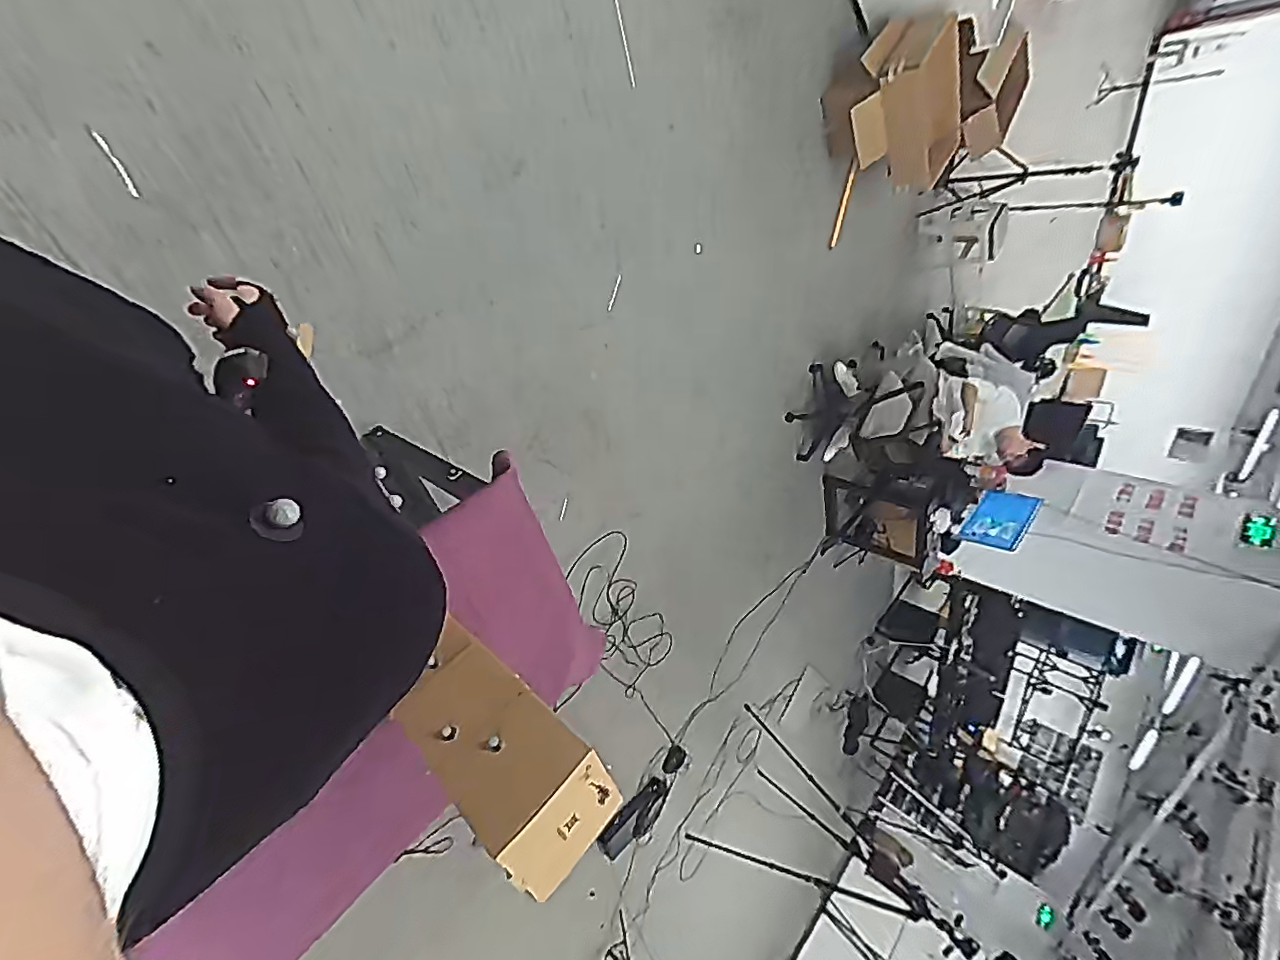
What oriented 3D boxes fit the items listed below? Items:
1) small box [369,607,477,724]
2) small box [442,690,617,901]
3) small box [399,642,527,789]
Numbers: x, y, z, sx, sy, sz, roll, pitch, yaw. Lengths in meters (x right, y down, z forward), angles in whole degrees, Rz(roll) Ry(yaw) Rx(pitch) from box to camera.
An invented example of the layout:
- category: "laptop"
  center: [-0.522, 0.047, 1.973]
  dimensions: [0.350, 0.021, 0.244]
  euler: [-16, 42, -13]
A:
- category: "small box"
  center: [-0.390, 0.382, 1.039]
  dimensions: [0.179, 0.176, 0.168]
  euler: [-40, 131, -28]
- category: "small box"
  center: [-0.169, 0.459, 0.807]
  dimensions: [0.179, 0.176, 0.168]
  euler: [-39, 130, -28]
- category: "small box"
  center: [-0.281, 0.416, 0.919]
  dimensions: [0.179, 0.176, 0.168]
  euler: [-39, 131, -29]
